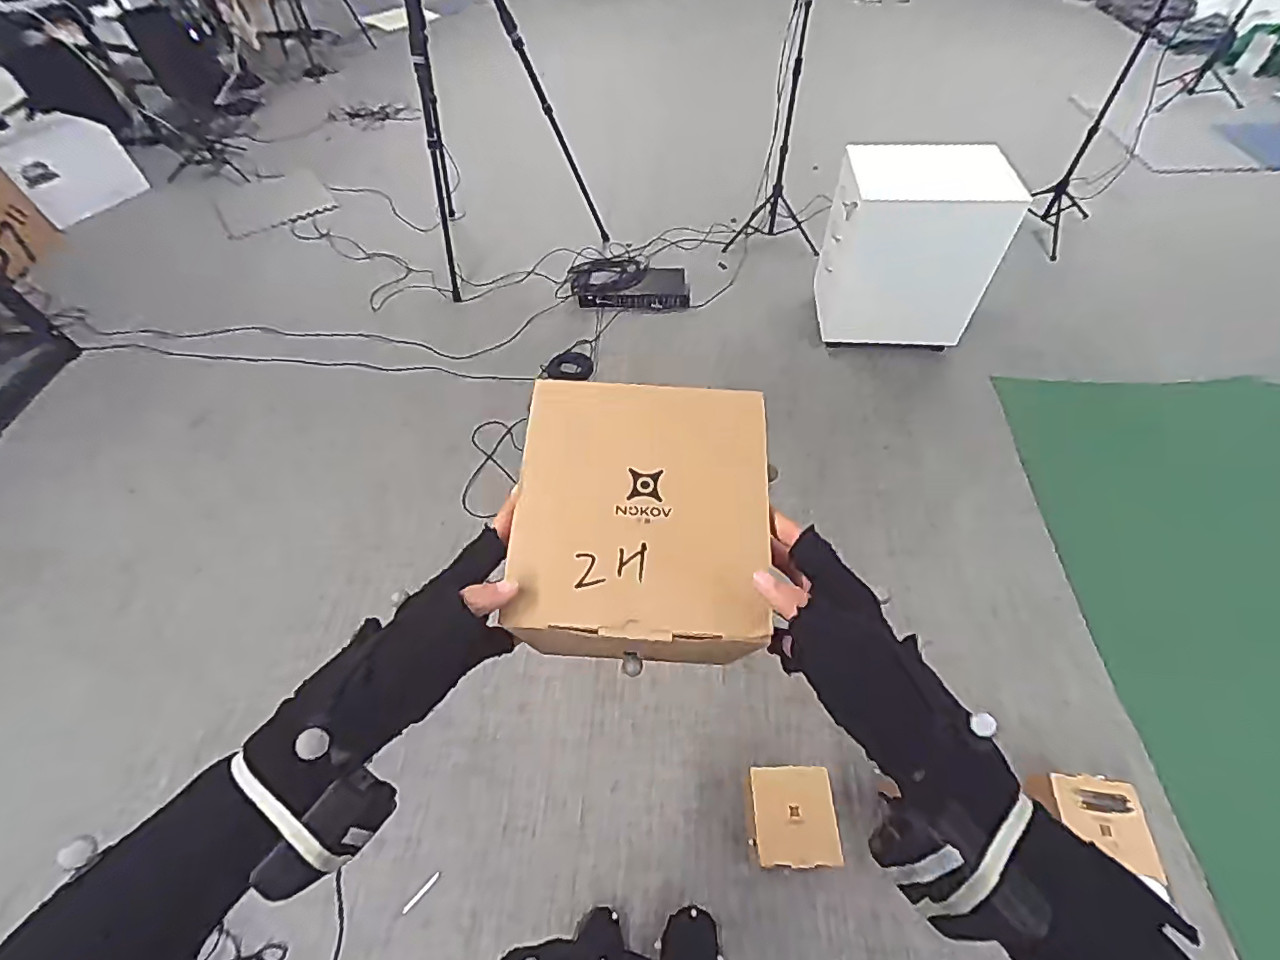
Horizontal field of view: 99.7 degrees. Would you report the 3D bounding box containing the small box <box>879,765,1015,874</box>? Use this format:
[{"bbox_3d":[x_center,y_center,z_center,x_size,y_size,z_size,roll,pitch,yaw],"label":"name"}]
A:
[{"bbox_3d":[0.635,0.721,1.145,0.168,0.176,0.179,-5,52,-1],"label":"small box"}]

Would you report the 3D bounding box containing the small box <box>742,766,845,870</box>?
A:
[{"bbox_3d":[0.318,0.726,1.158,0.168,0.176,0.179,-2,54,2],"label":"small box"}]
